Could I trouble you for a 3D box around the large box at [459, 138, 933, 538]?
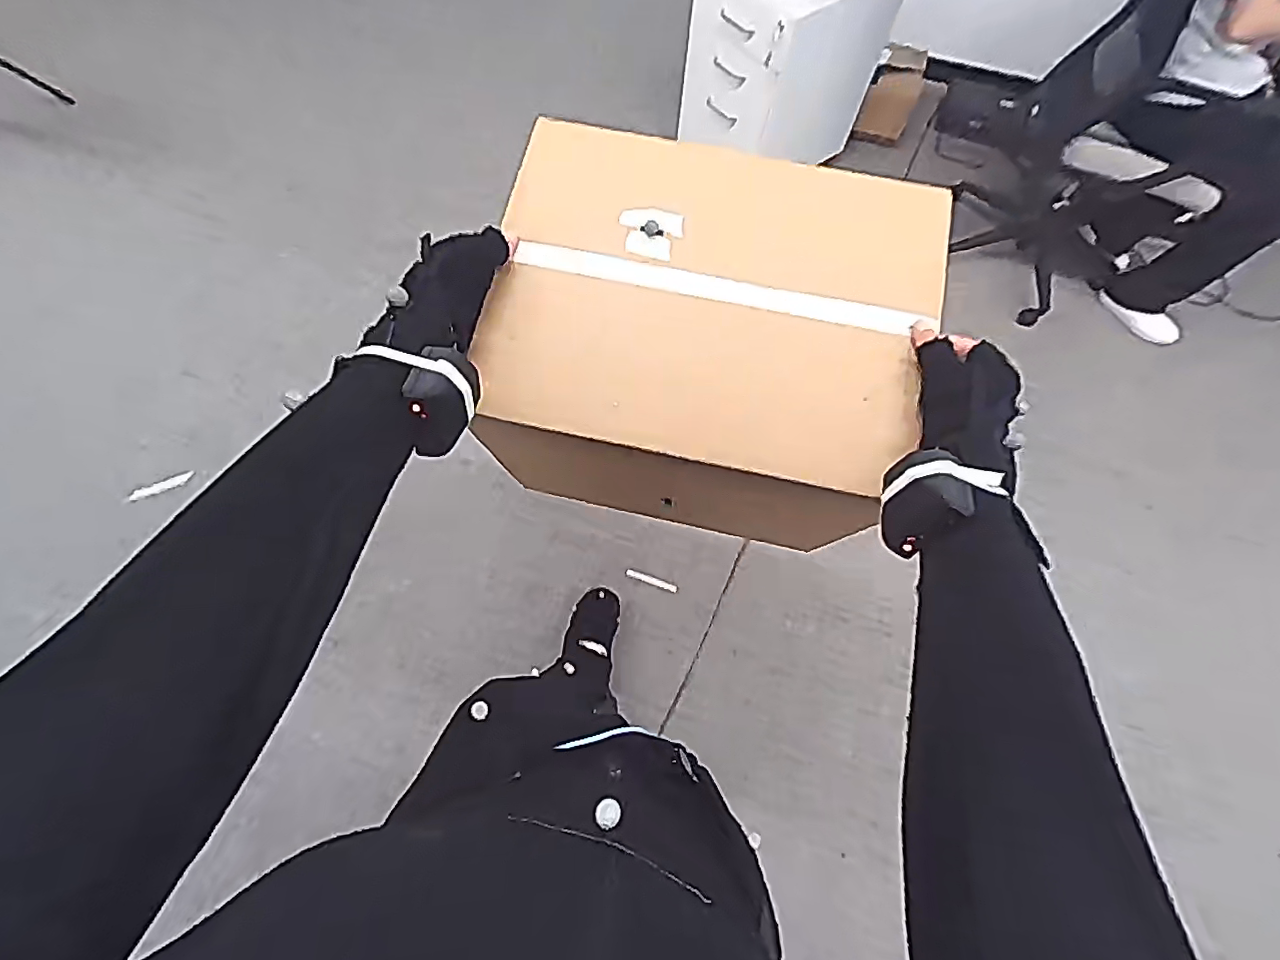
[{"bbox_3d":[0.066,-0.134,0.650,0.408,0.320,0.320,13,76,5],"label":"large box"}]
